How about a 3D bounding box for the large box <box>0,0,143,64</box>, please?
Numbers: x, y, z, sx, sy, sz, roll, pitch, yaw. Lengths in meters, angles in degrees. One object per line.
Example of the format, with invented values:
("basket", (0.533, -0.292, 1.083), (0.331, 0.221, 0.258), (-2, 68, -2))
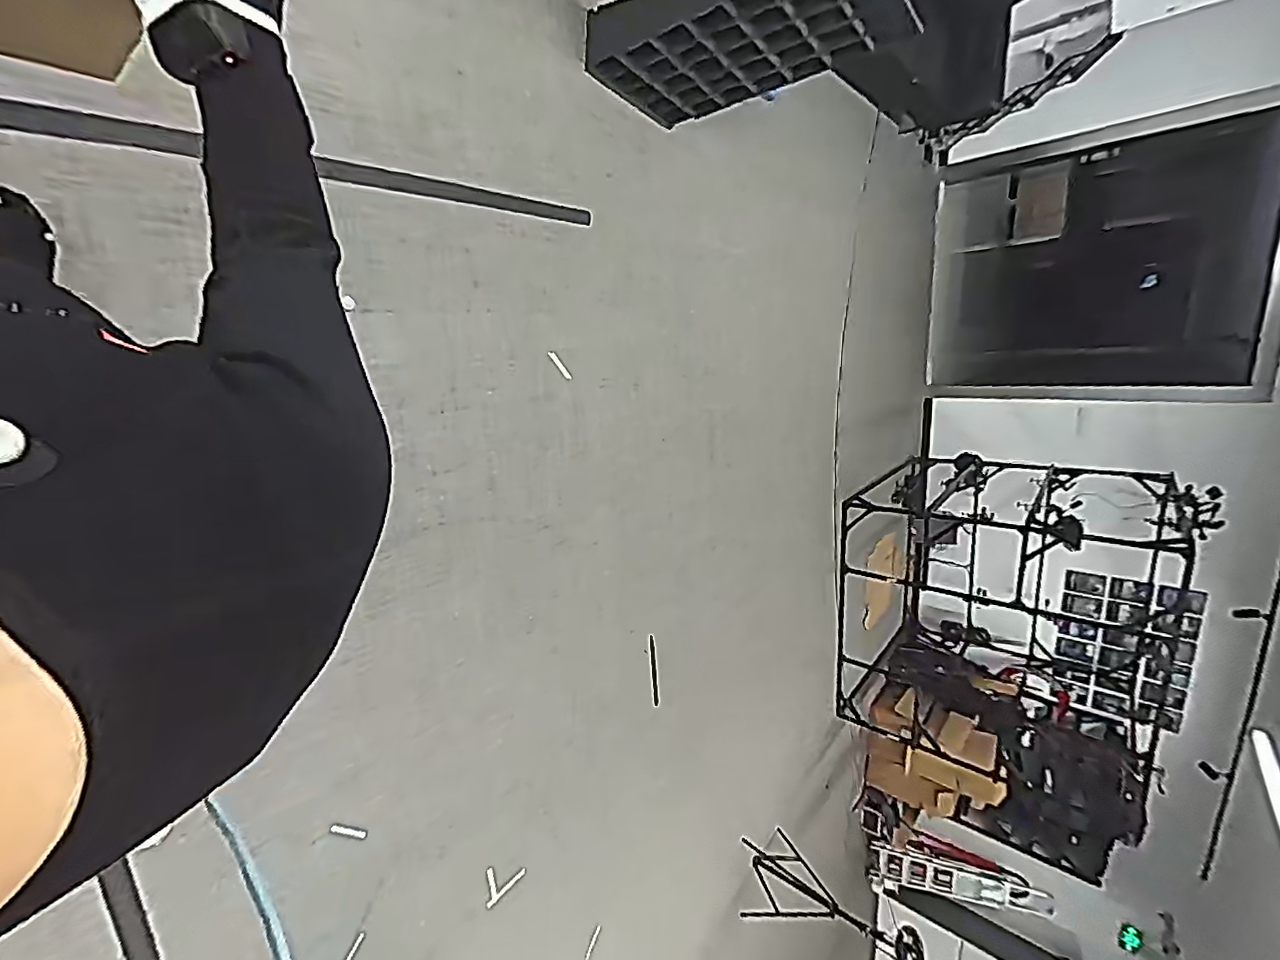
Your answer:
("large box", (-0.566, -0.494, 0.280), (0.408, 0.320, 0.320), (-19, 118, -47))
